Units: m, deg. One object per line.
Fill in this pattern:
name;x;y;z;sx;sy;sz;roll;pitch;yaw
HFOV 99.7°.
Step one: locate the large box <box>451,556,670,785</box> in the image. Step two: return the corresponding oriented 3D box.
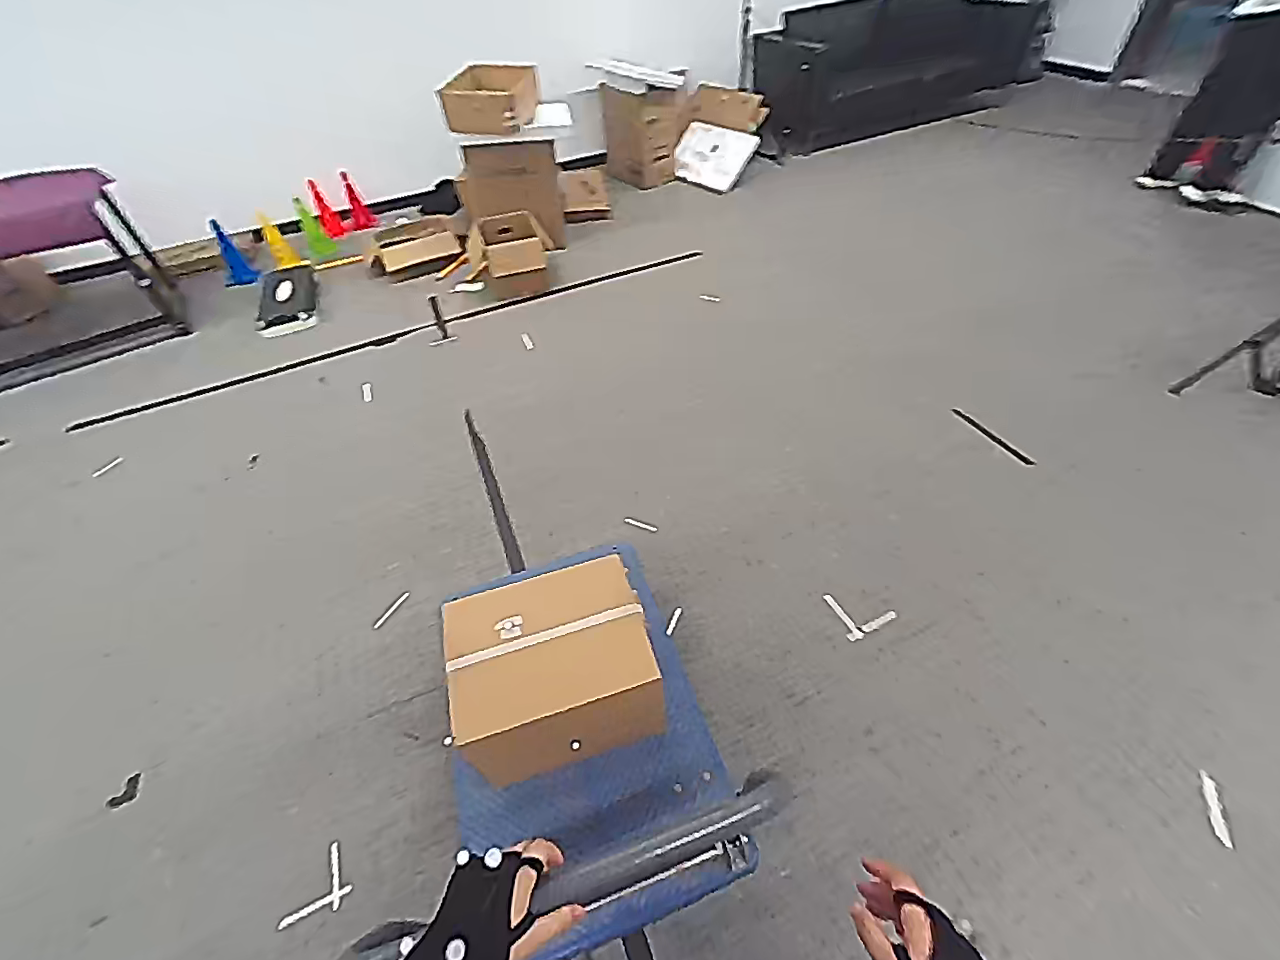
large box;-0.172;0.433;1.236;0.408;0.320;0.320;-16;47;-8
